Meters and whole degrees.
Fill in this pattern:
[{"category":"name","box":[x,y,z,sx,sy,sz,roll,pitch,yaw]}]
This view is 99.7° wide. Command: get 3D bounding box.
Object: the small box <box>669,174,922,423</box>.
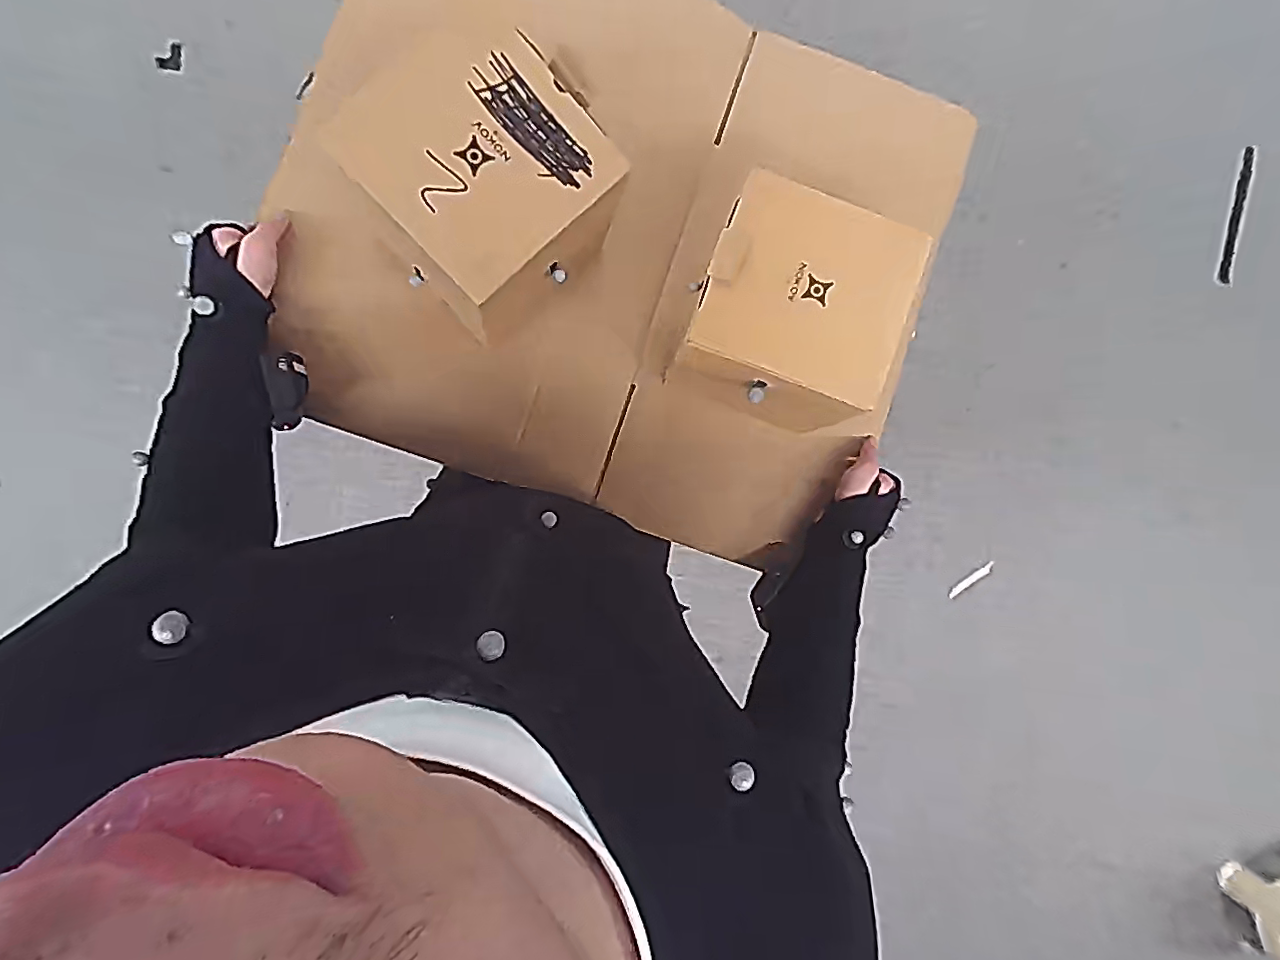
[{"category":"small box","box":[0.142,-0.165,0.558,0.179,0.176,0.168,19,86,-2]}]
